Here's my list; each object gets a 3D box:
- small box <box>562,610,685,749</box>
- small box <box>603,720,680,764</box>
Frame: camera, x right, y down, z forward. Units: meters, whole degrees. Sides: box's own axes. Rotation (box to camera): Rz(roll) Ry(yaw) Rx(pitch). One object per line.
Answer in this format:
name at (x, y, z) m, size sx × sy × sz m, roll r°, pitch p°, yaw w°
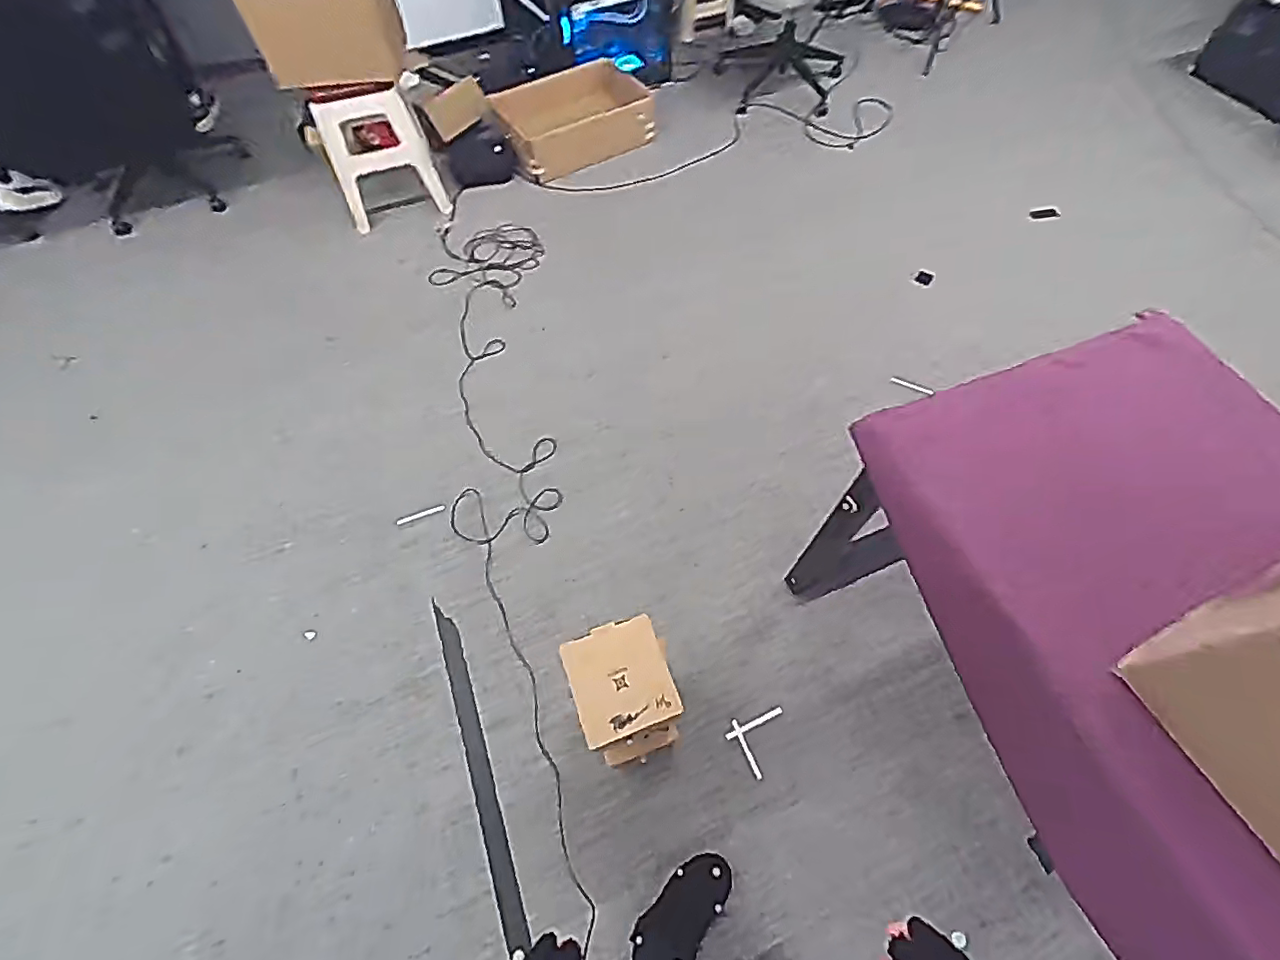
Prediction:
small box at (-0.032, 0.361, 0.967) m, size 0.168 × 0.176 × 0.179 m, roll -18°, pitch 63°, yaw -10°
small box at (-0.020, 0.534, 1.243) m, size 0.168 × 0.176 × 0.179 m, roll -19°, pitch 63°, yaw -9°
